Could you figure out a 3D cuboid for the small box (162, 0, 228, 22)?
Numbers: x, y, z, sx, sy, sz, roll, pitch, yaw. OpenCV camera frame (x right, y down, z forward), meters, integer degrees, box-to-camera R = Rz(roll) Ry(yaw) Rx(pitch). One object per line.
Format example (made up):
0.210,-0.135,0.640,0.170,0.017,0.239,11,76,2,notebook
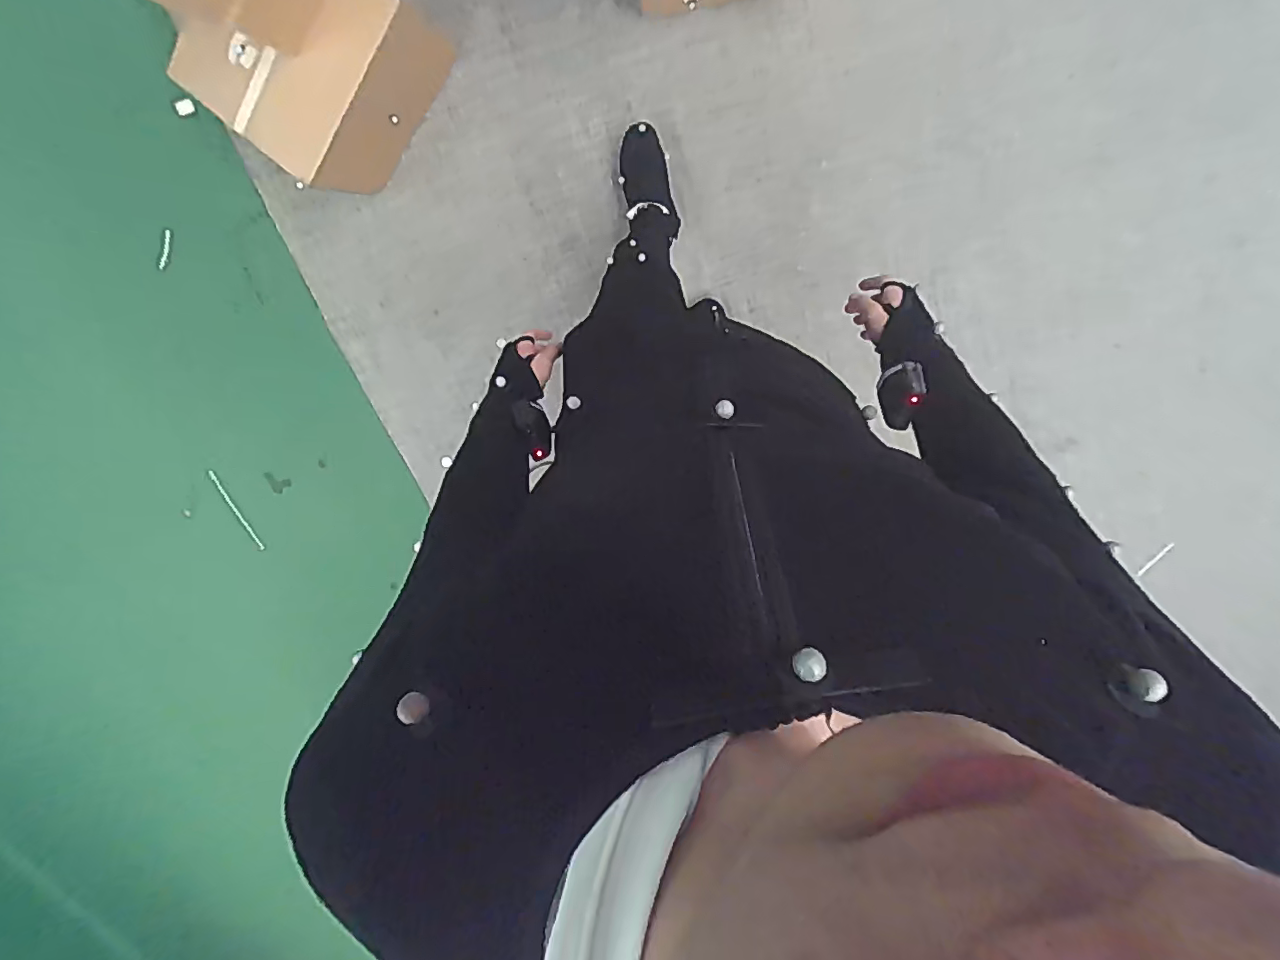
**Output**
-0.689,-0.806,0.755,0.179,0.176,0.168,-40,107,18,small box

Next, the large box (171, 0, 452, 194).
-0.679,-0.900,1.164,0.320,0.320,0.408,38,112,-13,large box
